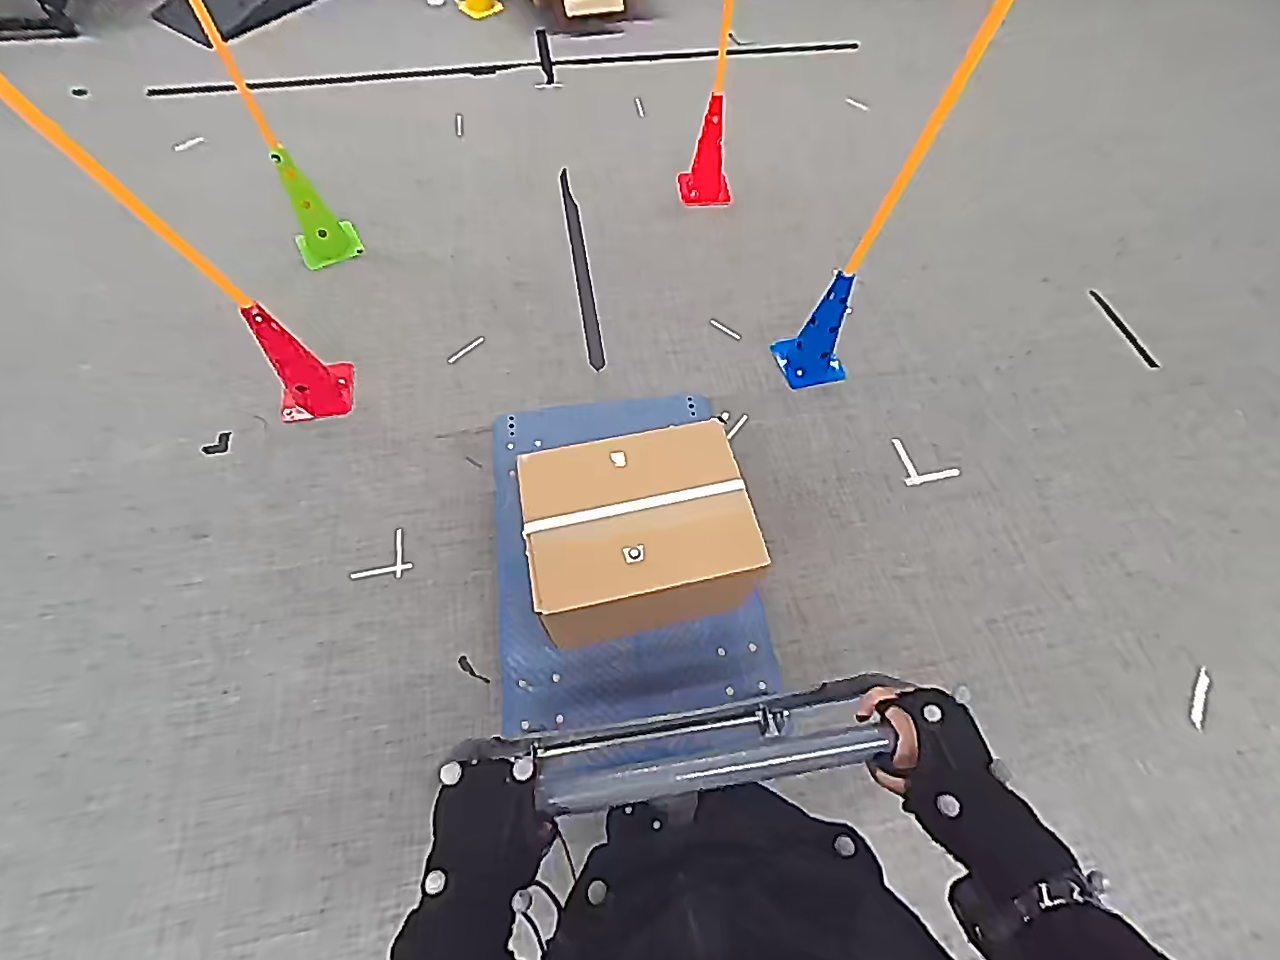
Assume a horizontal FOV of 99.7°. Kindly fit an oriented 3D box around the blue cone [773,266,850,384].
[{"bbox_3d":[0.558,-0.477,1.638,0.193,0.380,0.192,-12,62,-8],"label":"blue cone"}]

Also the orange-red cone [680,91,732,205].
[{"bbox_3d":[0.271,-1.251,2.022,0.199,0.360,0.198,-2,63,-4],"label":"orange-red cone"}]
